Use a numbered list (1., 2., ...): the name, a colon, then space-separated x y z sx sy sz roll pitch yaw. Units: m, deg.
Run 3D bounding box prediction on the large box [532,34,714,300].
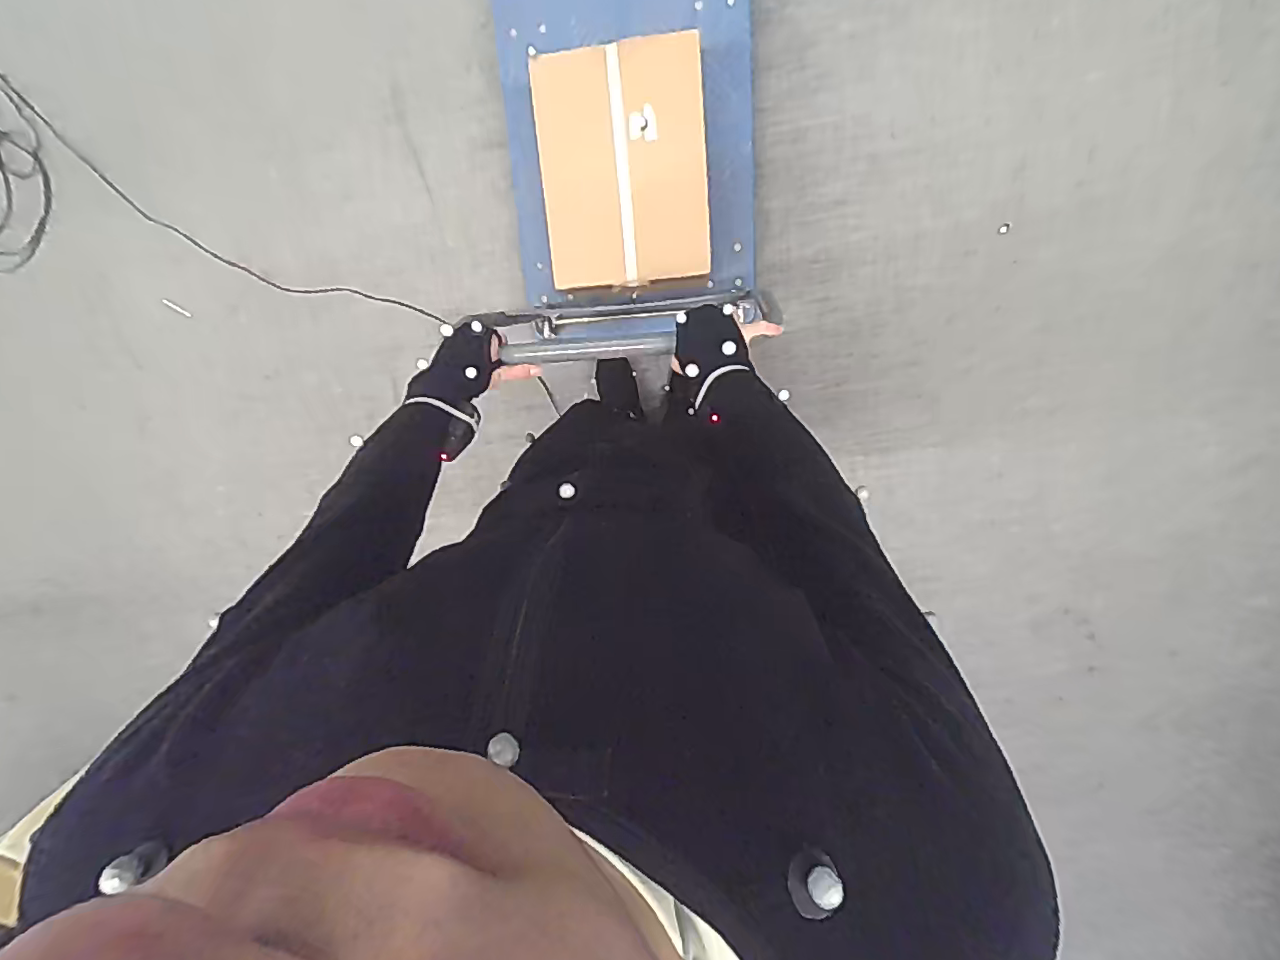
1. large box: -0.011 -0.620 1.157 0.320 0.320 0.408 -3 104 7
